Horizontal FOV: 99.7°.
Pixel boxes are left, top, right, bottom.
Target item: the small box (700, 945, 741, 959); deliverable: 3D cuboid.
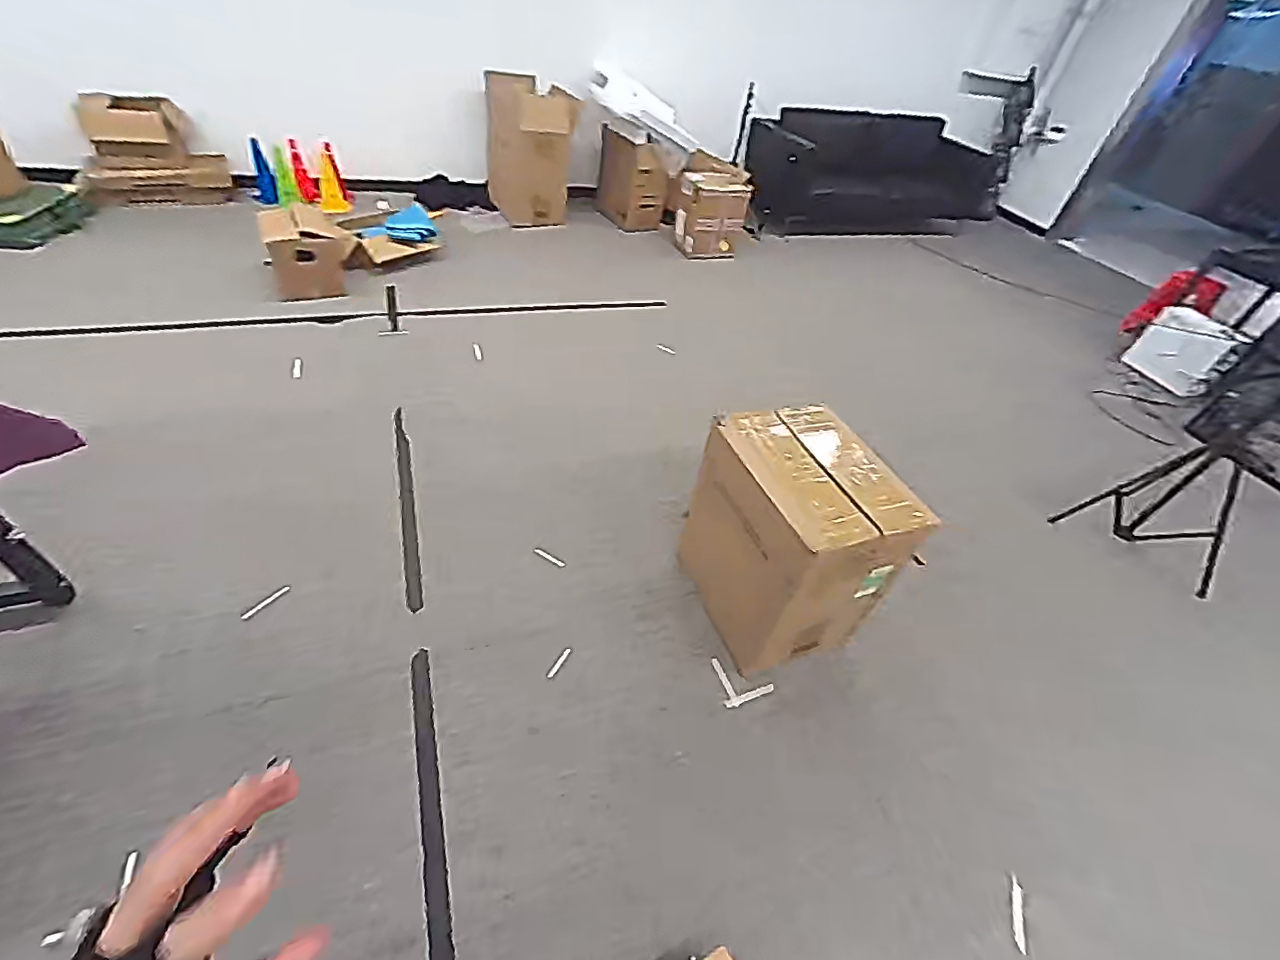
[{"bbox_3d":[0.144,1.056,1.049,0.168,0.176,0.179,-17,50,-26],"label":"small box"}]
